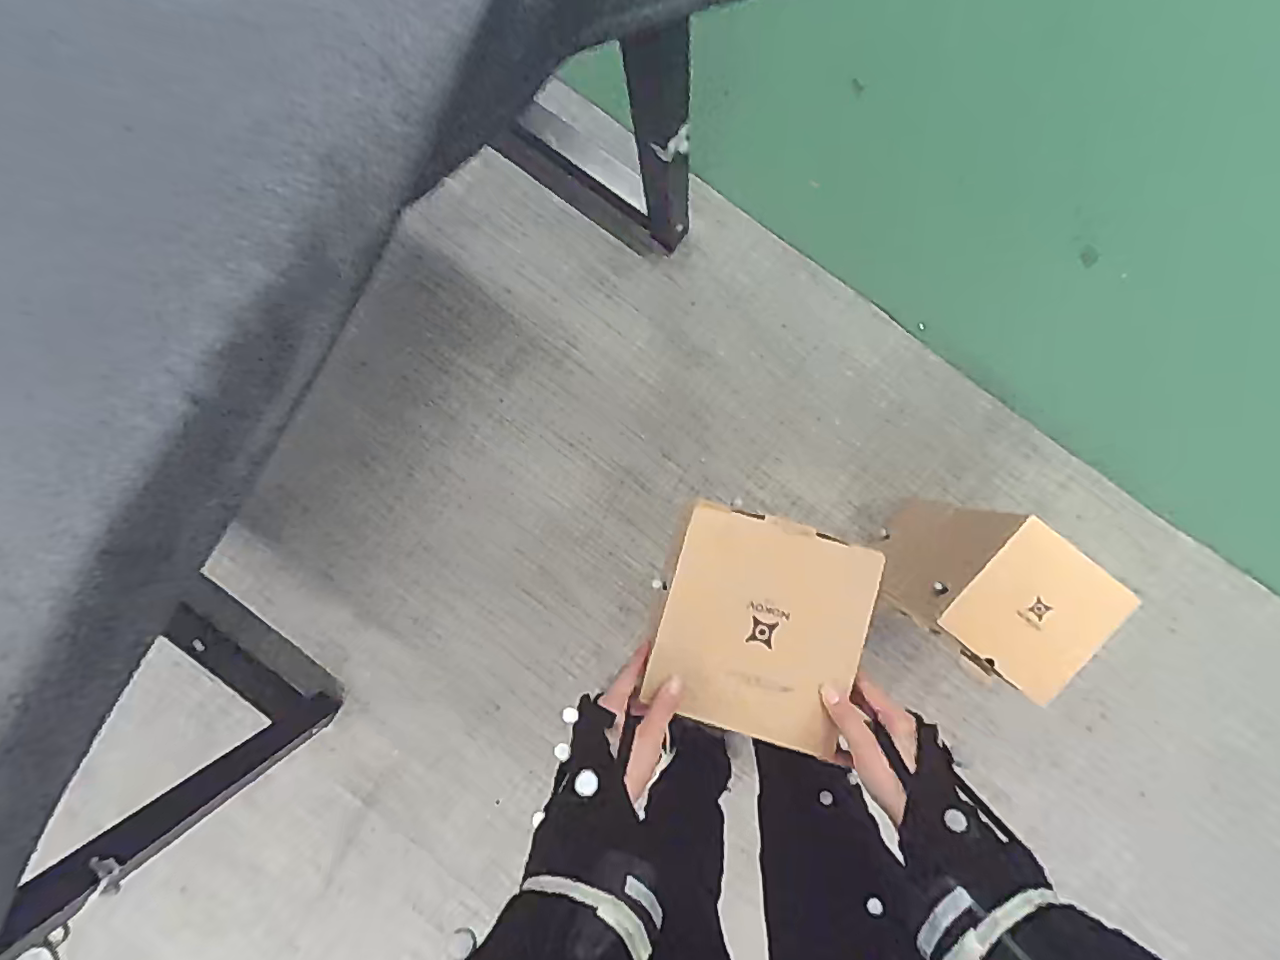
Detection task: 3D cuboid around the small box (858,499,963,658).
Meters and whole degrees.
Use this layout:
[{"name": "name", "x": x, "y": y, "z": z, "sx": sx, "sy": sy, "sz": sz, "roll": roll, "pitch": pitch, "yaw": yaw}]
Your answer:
[{"name": "small box", "x": 0.483, "y": 0.149, "z": 0.883, "sx": 0.168, "sy": 0.176, "sz": 0.179, "roll": 38, "pitch": 95, "yaw": 3}]

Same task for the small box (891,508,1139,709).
[{"name": "small box", "x": 0.474, "y": 0.153, "z": 0.719, "sx": 0.168, "sy": 0.176, "sz": 0.179, "roll": 40, "pitch": 94, "yaw": 2}]
